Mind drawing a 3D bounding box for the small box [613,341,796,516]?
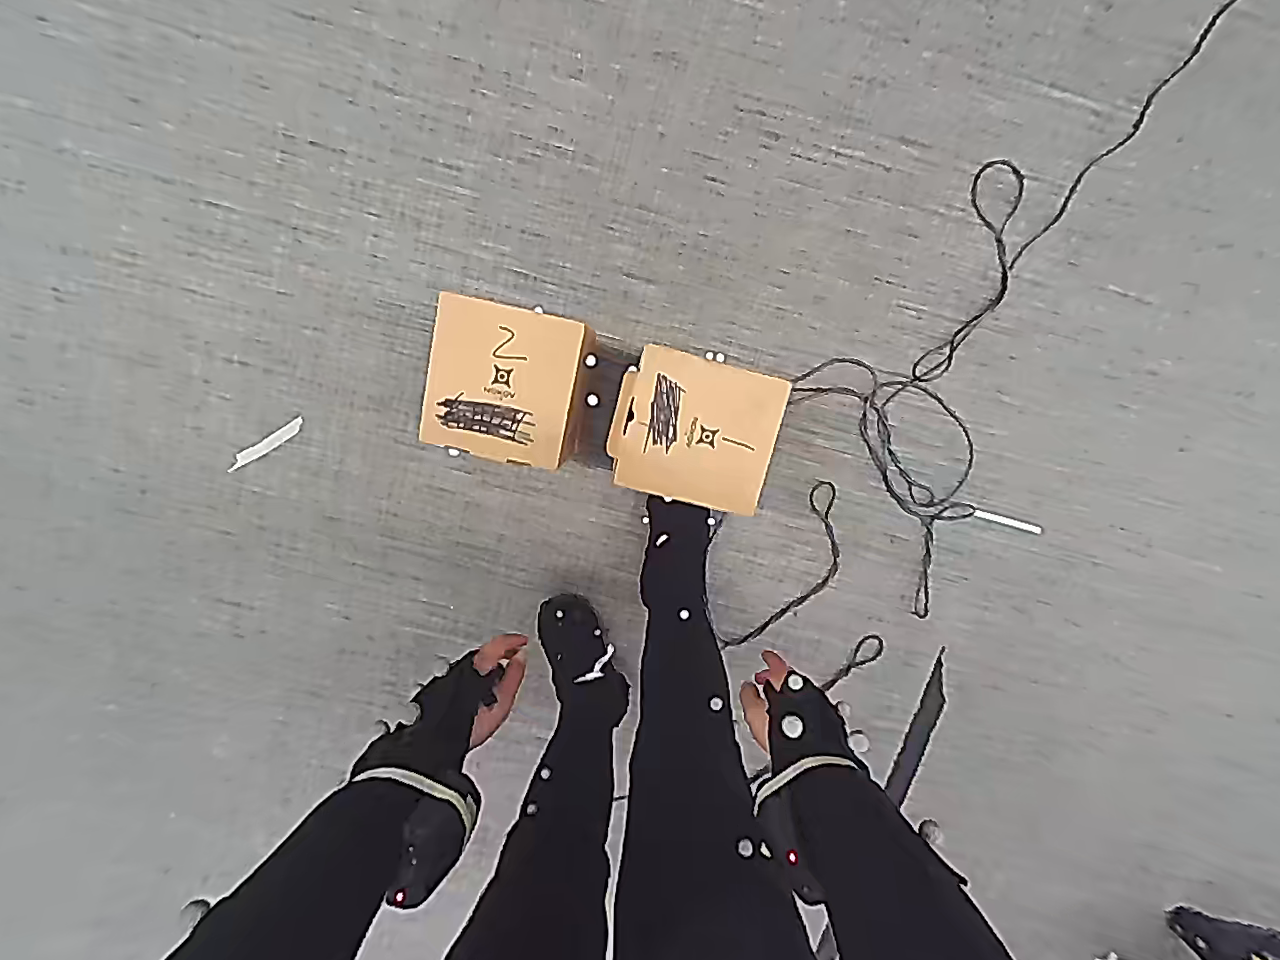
[{"bbox_3d":[0.071,-0.069,0.692,0.179,0.176,0.168,14,101,-3],"label":"small box"}]

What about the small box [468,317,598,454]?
[{"bbox_3d":[-0.158,-0.147,0.848,0.168,0.176,0.179,8,101,-2],"label":"small box"}]
